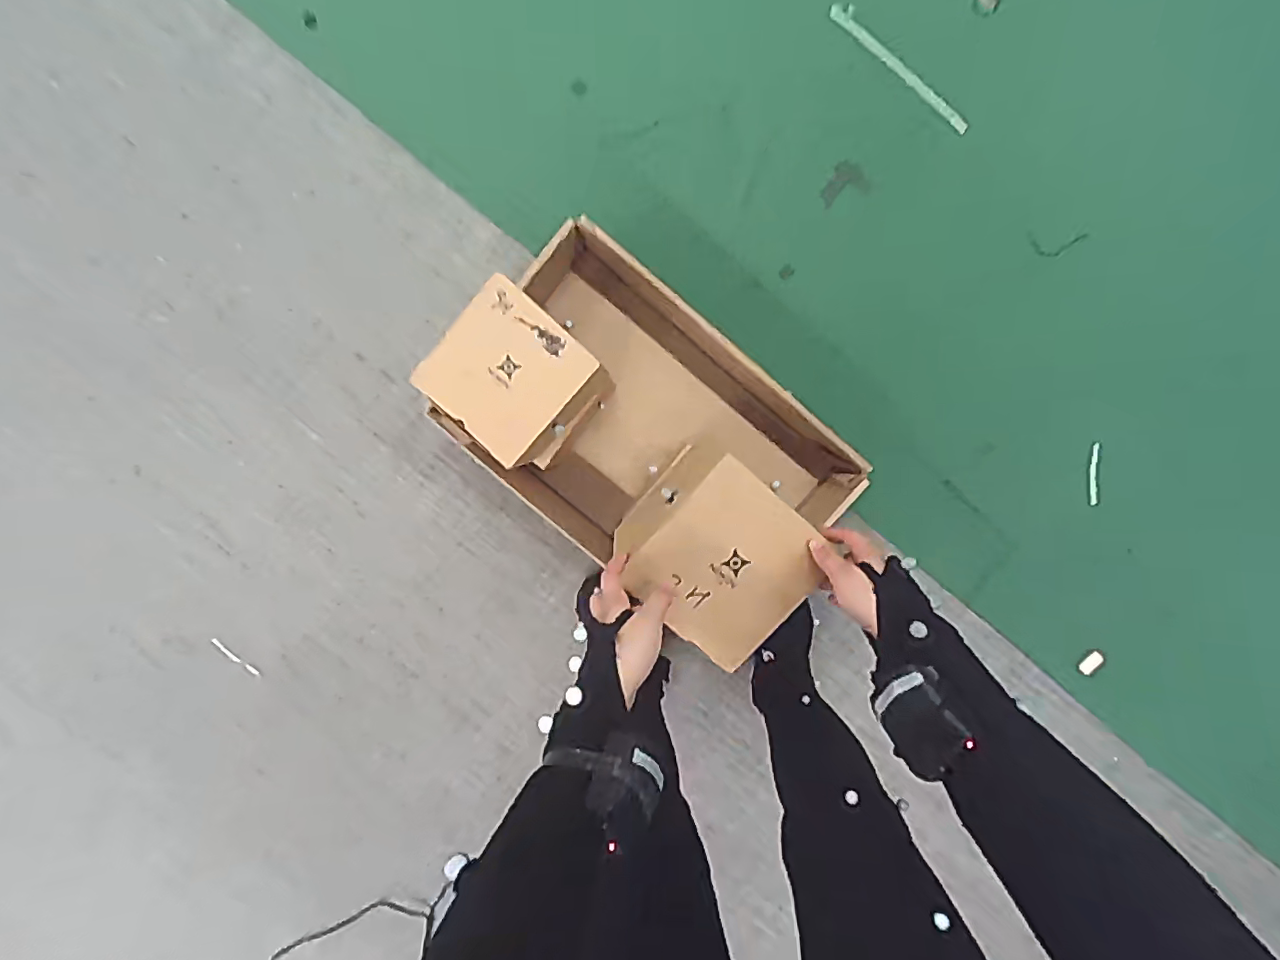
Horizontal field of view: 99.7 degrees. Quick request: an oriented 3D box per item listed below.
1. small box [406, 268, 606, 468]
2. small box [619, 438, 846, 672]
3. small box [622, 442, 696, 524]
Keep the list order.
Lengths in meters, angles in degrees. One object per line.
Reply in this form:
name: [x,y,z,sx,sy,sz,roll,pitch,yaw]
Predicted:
small box: [-0.160,-0.139,0.715,0.168,0.176,0.179,42,97,-4]
small box: [0.090,0.070,0.618,0.168,0.176,0.179,41,98,-9]
small box: [0.092,0.048,0.899,0.179,0.176,0.168,40,96,-3]
